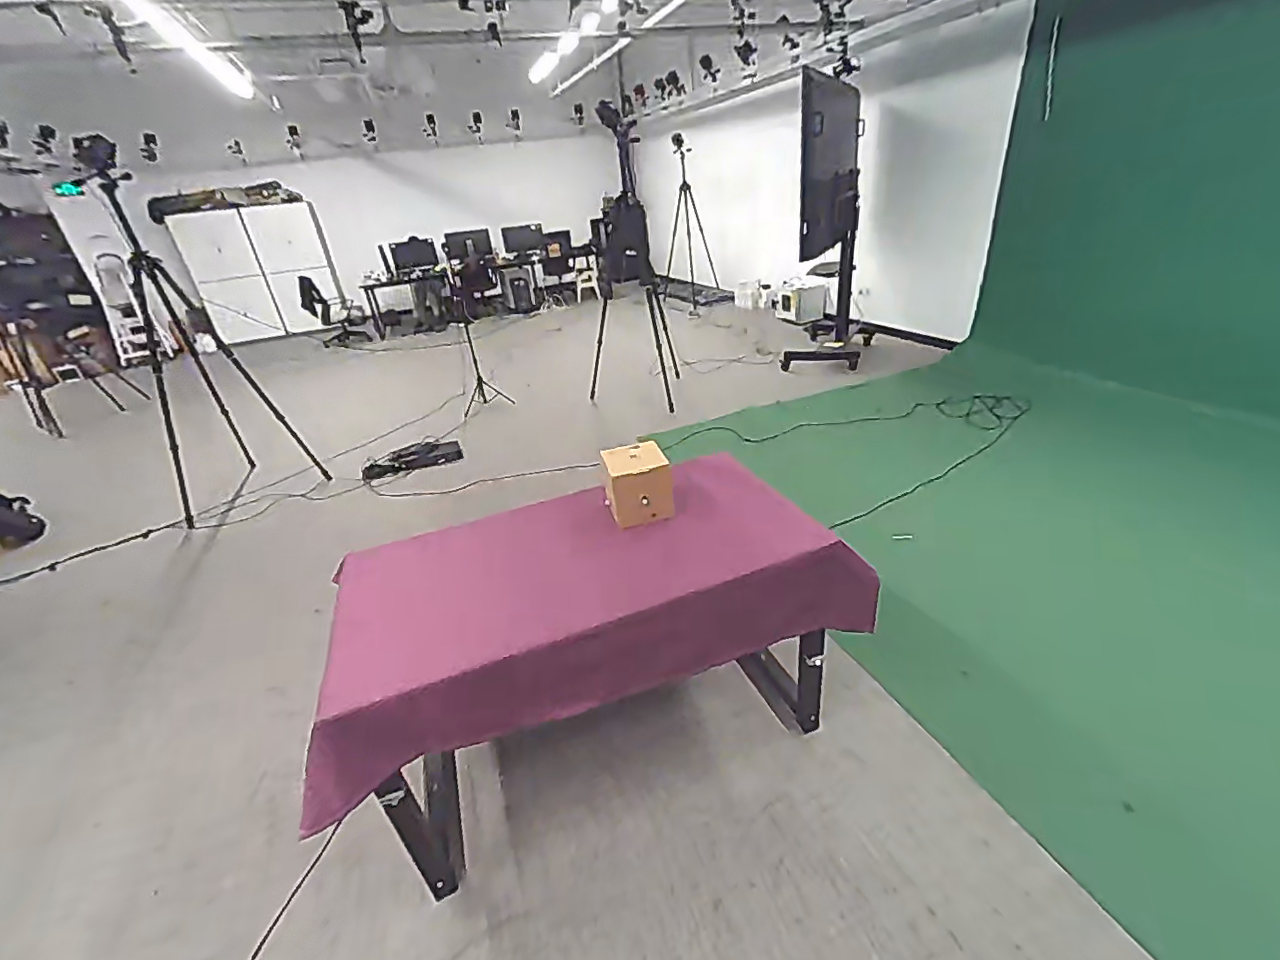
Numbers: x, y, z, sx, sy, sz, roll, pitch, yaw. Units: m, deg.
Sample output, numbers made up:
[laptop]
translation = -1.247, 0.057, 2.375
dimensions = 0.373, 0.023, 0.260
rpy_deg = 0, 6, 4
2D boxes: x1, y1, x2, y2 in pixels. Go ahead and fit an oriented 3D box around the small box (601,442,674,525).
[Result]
[small box]
translation = -0.006, 0.014, 1.550
dimensions = 0.168, 0.176, 0.179
rpy_deg = -12, 29, -9
